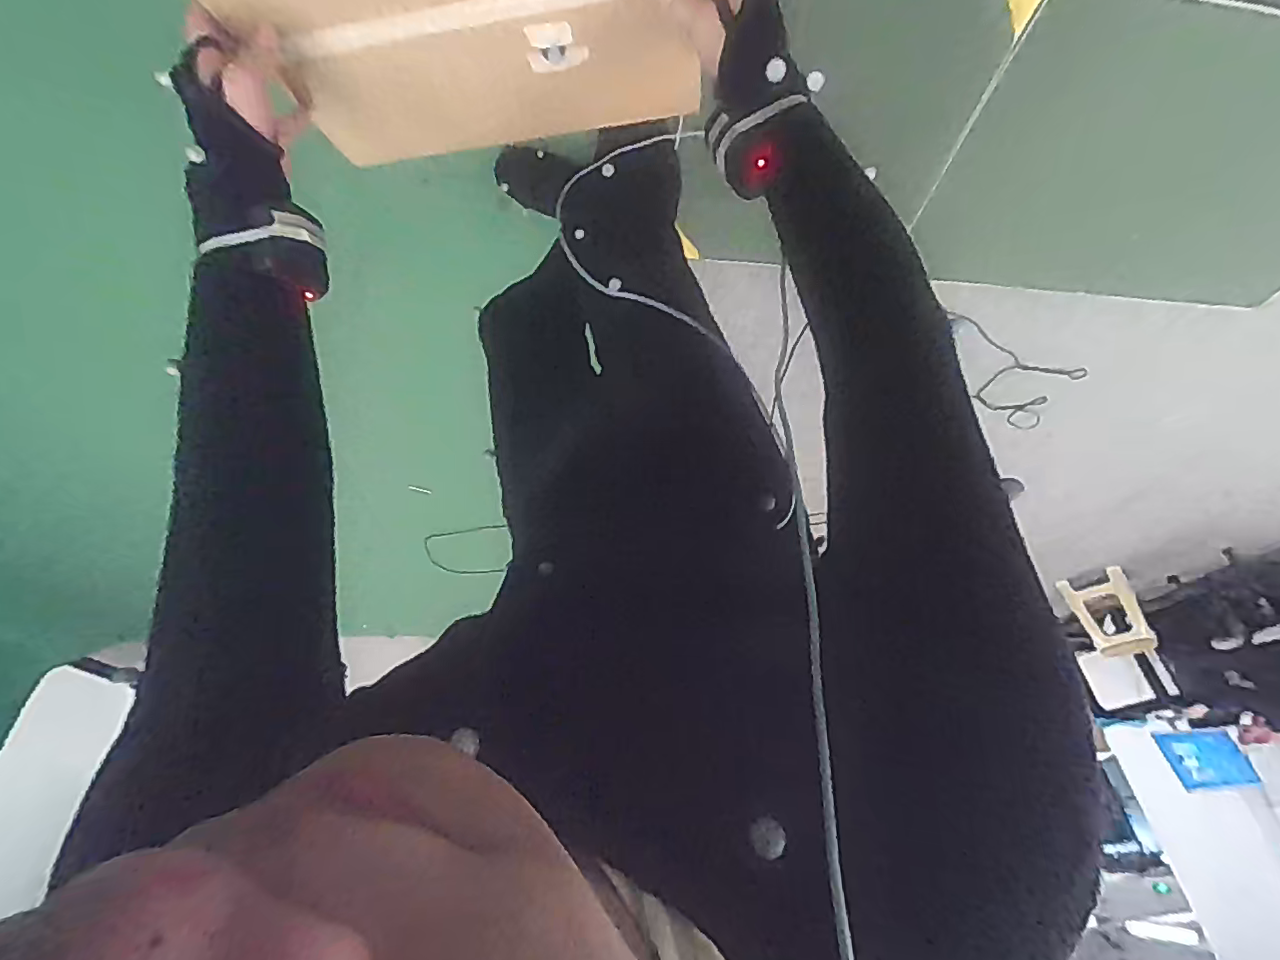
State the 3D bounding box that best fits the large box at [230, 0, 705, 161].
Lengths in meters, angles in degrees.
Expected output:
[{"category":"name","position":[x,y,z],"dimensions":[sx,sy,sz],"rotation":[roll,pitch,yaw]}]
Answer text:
[{"category":"large box","position":[-0.158,-0.563,0.489],"dimensions":[0.408,0.320,0.320],"rotation":[-6,174,5]}]
